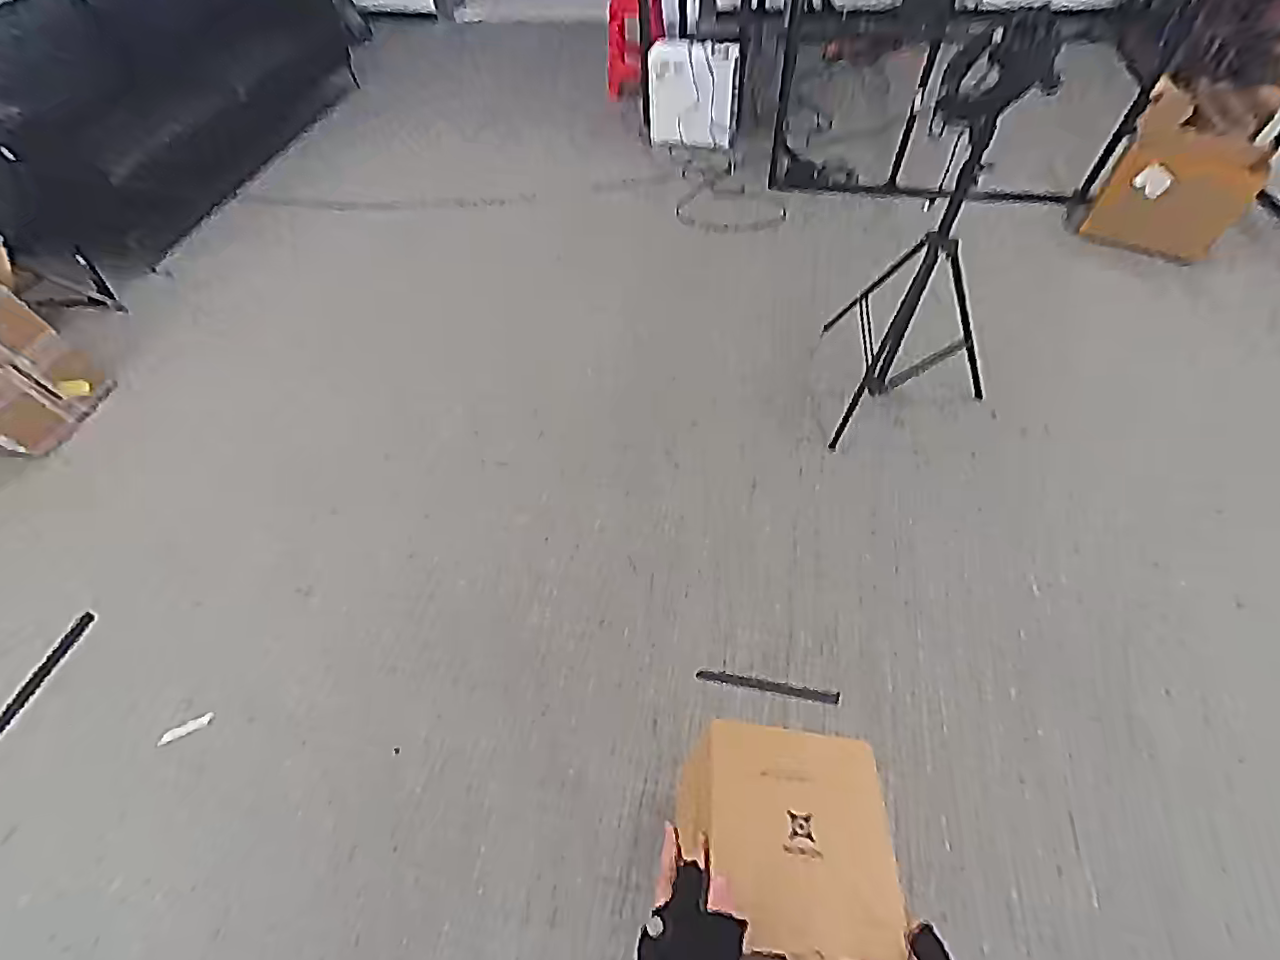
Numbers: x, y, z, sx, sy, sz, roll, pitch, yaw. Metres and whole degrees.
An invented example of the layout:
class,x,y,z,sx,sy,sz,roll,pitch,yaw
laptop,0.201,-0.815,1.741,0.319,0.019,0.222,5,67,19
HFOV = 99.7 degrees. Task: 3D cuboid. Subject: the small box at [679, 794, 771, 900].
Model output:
class,x,y,z,sx,sy,sz,roll,pitch,yaw
small box,0.174,0.773,1.146,0.179,0.176,0.168,1,55,6
